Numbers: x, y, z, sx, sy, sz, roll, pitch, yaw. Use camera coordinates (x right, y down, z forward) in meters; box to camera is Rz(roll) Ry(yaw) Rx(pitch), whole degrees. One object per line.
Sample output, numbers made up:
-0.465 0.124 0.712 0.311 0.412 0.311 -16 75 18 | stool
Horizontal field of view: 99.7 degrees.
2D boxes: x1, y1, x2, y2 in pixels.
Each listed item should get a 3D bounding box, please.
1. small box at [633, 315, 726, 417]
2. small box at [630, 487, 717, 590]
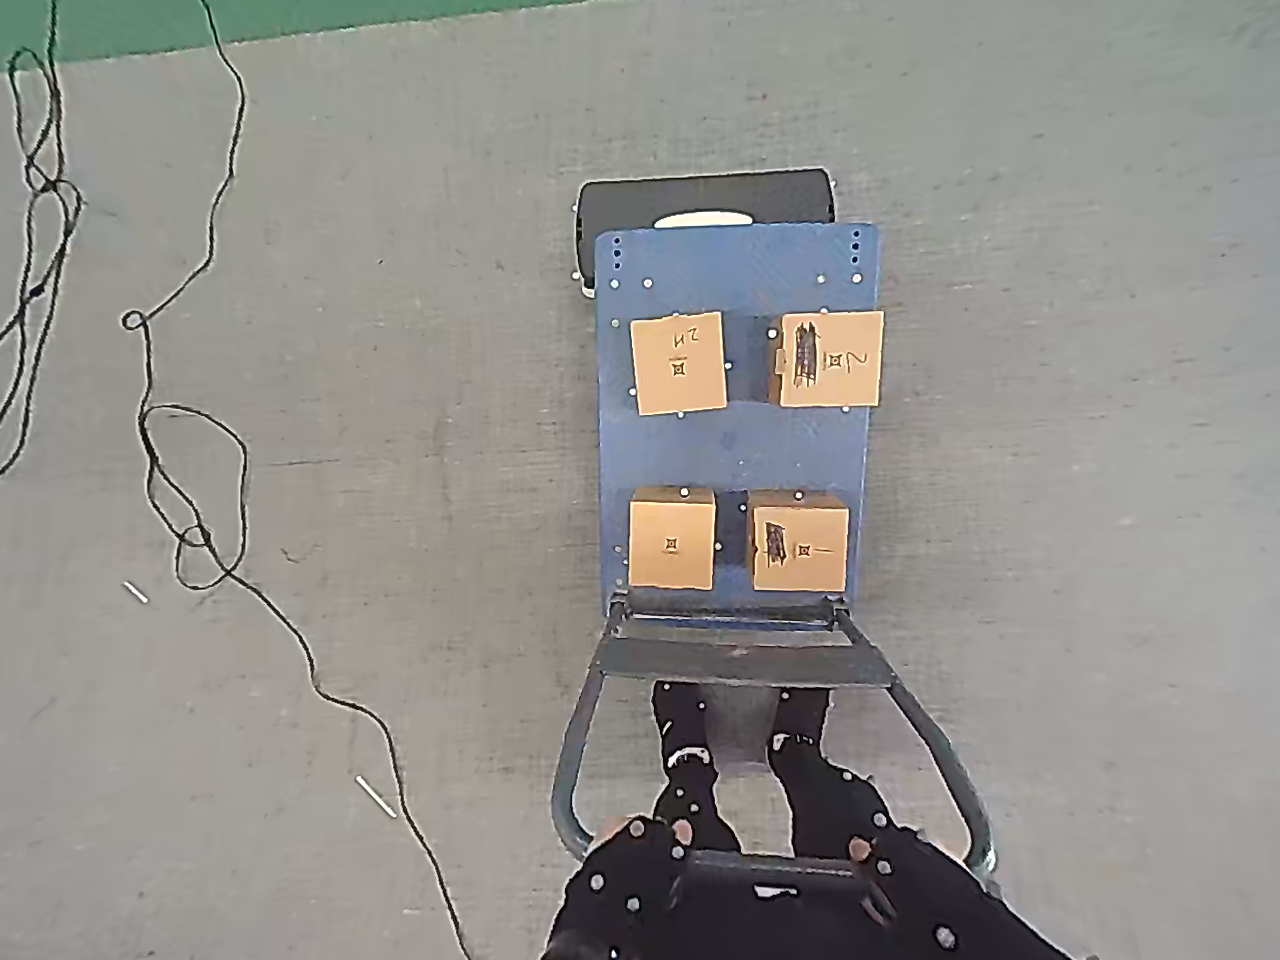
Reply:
0.082 -0.222 1.067 0.168 0.176 0.179 -4 100 5 | small box
0.069 0.114 1.129 0.168 0.176 0.179 2 101 5 | small box
